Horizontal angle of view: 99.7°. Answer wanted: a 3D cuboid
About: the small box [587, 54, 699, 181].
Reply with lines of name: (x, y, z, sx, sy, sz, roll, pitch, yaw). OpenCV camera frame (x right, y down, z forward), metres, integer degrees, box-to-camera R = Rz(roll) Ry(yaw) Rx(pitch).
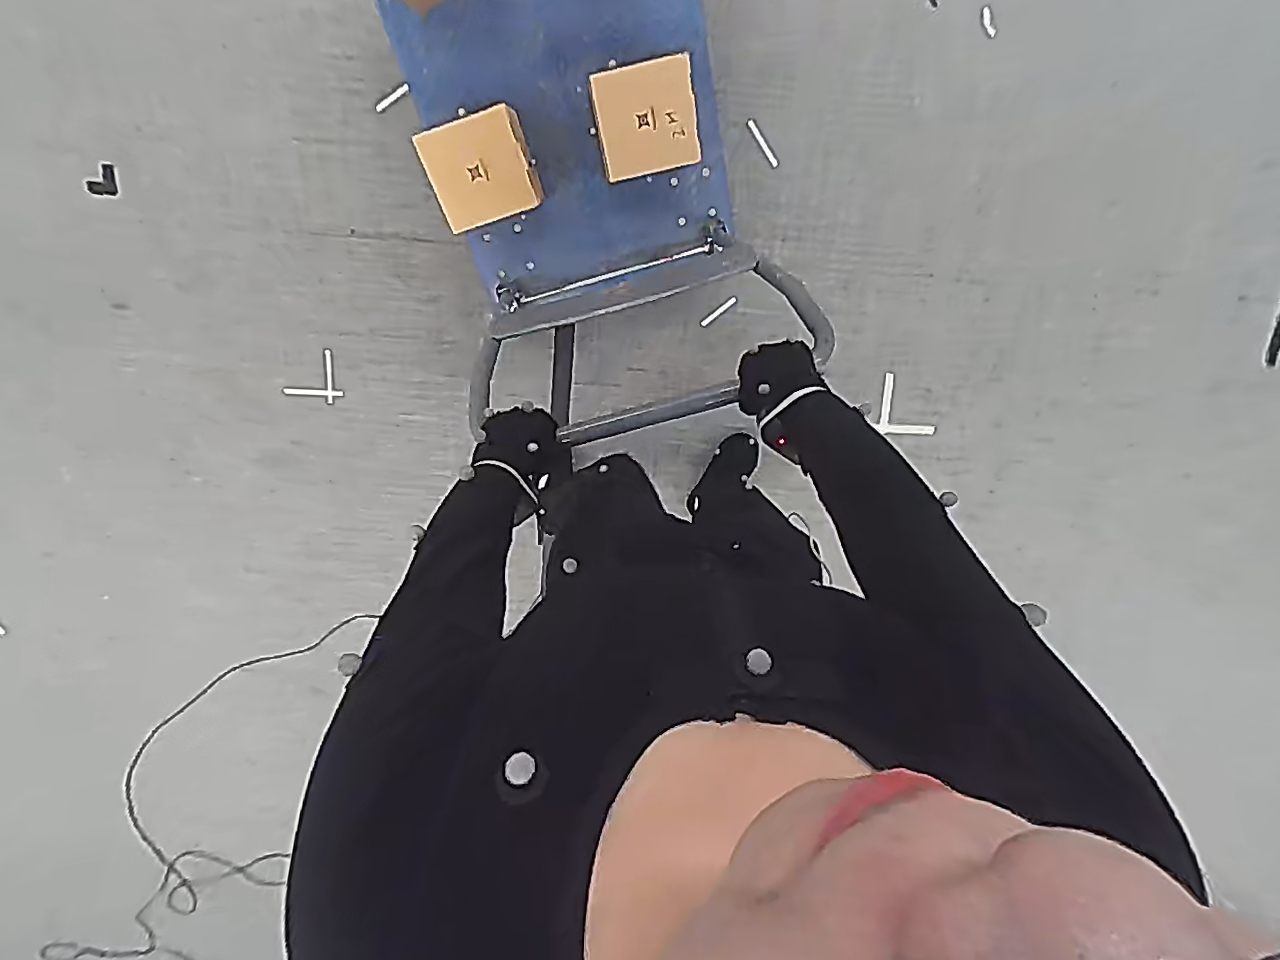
small box: (0.002, -0.674, 1.022, 0.179, 0.176, 0.168, -13, 121, 1)

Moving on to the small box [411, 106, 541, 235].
small box: (-0.302, -0.588, 1.038, 0.179, 0.176, 0.168, -18, 121, 3)
